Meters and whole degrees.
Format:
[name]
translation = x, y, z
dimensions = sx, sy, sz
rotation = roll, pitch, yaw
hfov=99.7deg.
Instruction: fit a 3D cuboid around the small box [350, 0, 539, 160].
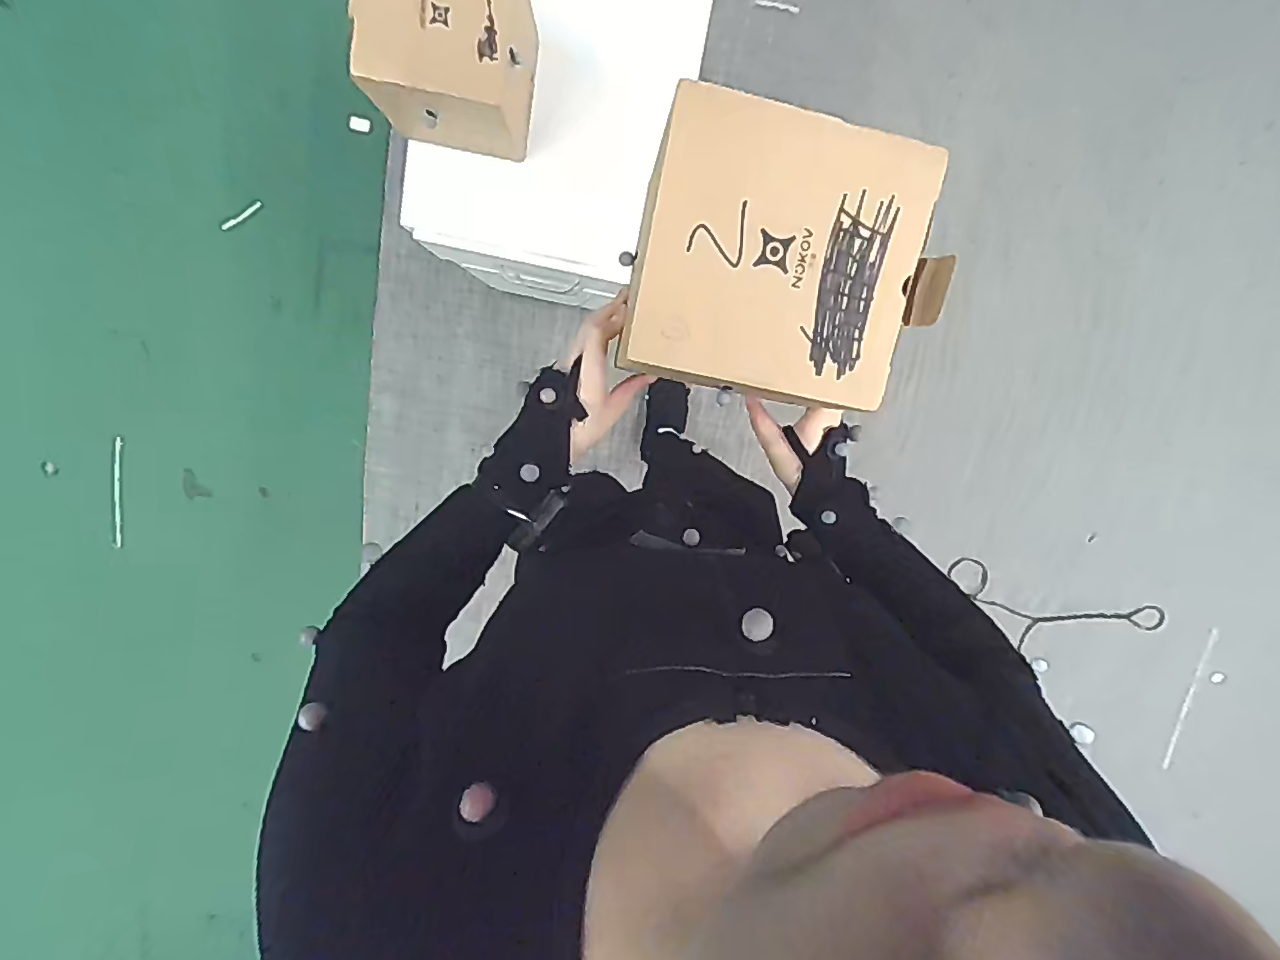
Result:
[small box]
translation = -0.238, -0.541, 0.694
dimensions = 0.179, 0.176, 0.168
rotation = 10, 99, -4
